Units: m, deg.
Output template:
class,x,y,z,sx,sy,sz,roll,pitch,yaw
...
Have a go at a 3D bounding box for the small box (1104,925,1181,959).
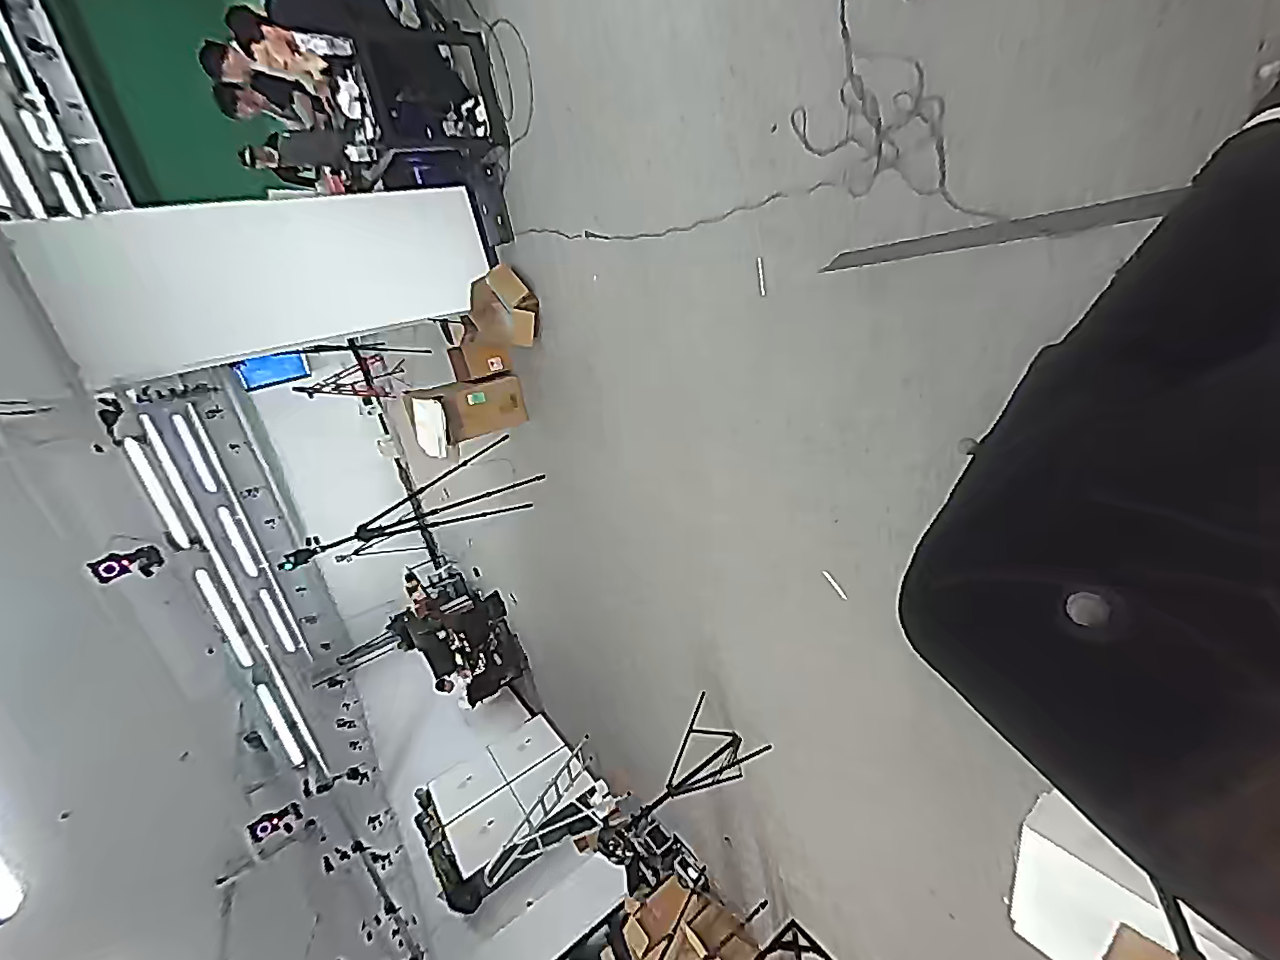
class,x,y,z,sx,sy,sz,roll,pitch,yaw
small box,1.030,1.051,1.066,0.179,0.176,0.168,10,118,57
